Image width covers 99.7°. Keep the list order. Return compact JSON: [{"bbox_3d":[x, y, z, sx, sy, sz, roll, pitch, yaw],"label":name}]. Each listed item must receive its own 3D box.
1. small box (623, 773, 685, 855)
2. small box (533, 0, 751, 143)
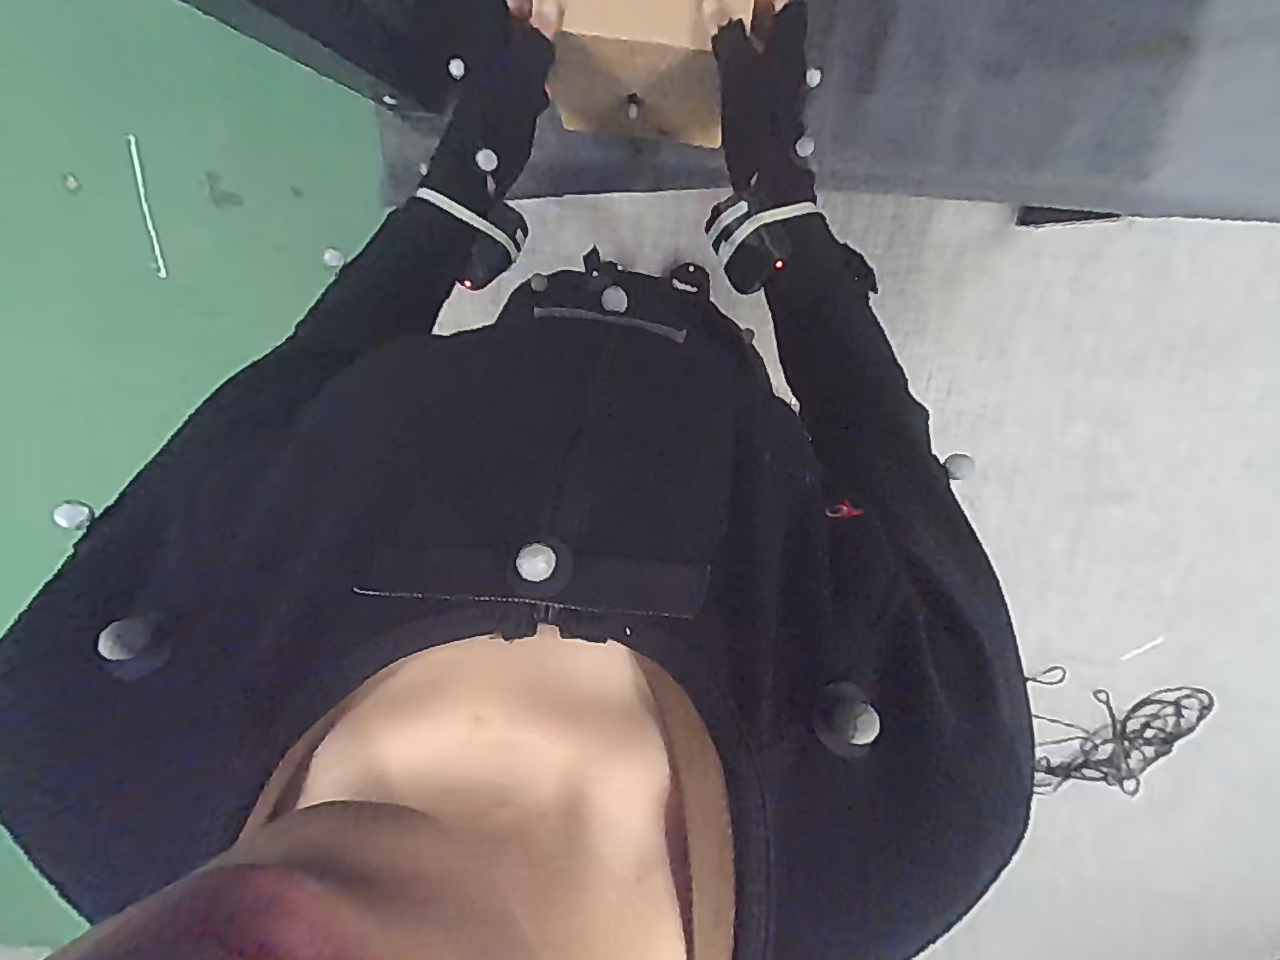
[{"bbox_3d":[0.051,1.183,1.923,0.179,0.176,0.168,19,111,-4],"label":"small box"},{"bbox_3d":[0.011,-0.428,0.473,0.168,0.176,0.179,7,100,-1],"label":"small box"}]
